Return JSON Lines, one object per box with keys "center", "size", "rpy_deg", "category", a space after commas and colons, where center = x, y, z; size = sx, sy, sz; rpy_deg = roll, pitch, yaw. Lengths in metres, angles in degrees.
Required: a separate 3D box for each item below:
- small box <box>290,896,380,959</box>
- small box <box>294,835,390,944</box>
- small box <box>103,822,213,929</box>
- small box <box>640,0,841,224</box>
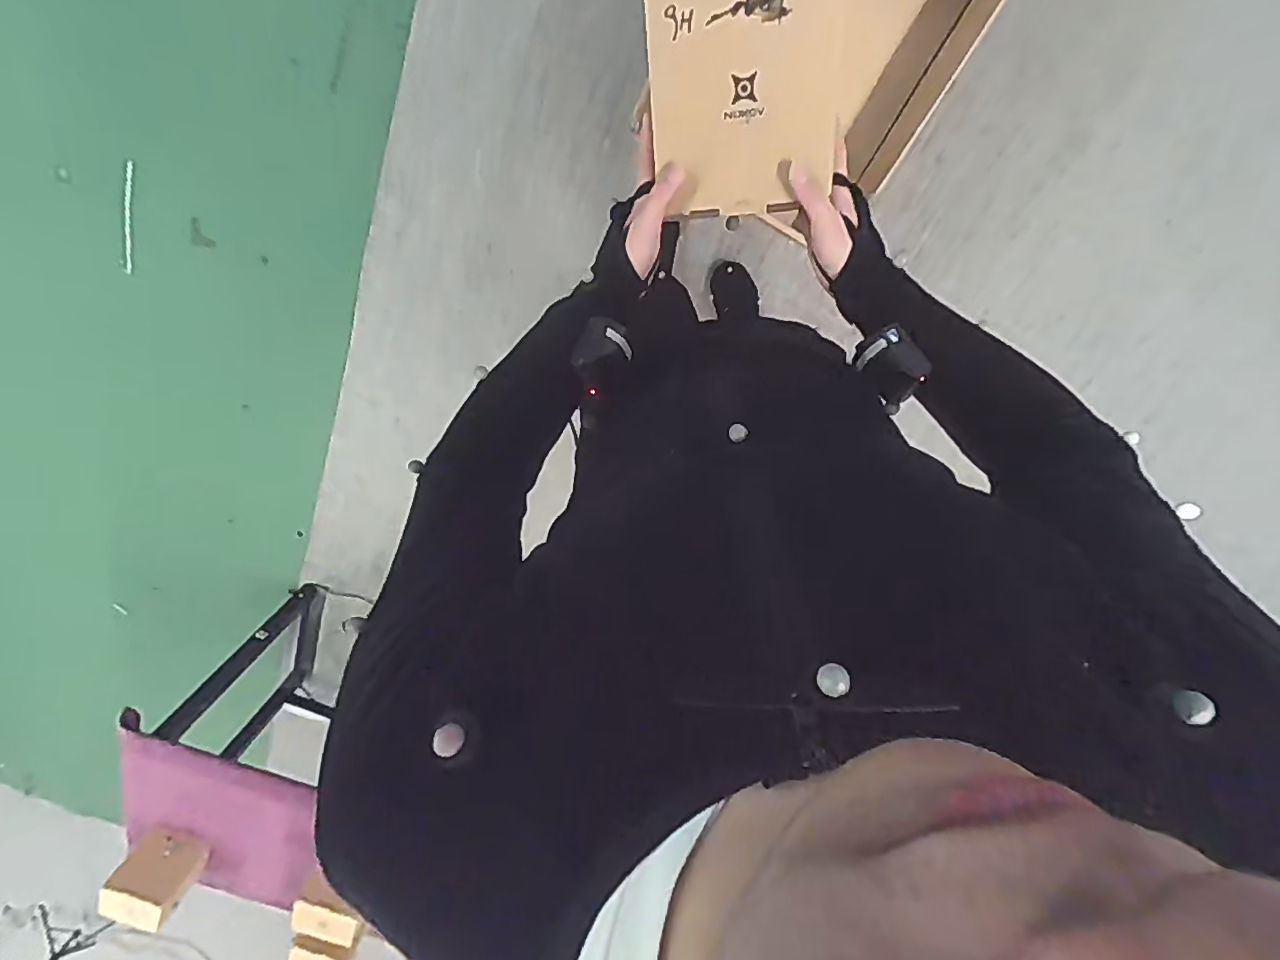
{"center": [-0.902, 1.342, 1.606], "size": [0.168, 0.176, 0.179], "rpy_deg": [23, 116, -5], "category": "small box"}
{"center": [-0.808, 1.113, 1.477], "size": [0.168, 0.176, 0.179], "rpy_deg": [22, 119, -4], "category": "small box"}
{"center": [-1.374, 1.130, 1.550], "size": [0.168, 0.176, 0.179], "rpy_deg": [28, 116, -9], "category": "small box"}
{"center": [0.093, -0.364, 0.546], "size": [0.168, 0.176, 0.179], "rpy_deg": [-3, 115, 5], "category": "small box"}
